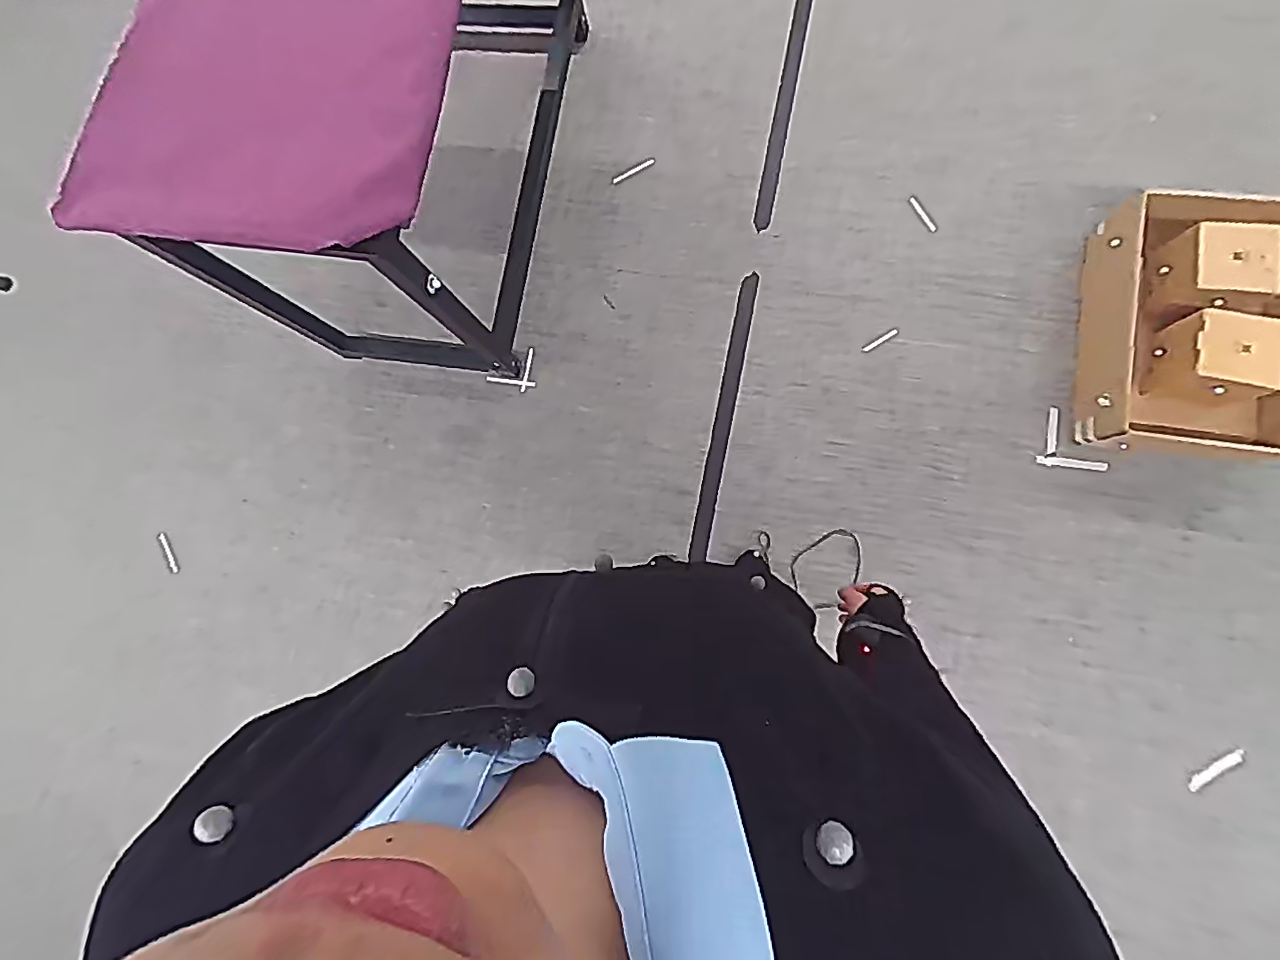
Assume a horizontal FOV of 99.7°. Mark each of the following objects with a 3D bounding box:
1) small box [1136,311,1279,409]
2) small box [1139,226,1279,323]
[{"bbox_3d":[1.367,-0.281,1.304,0.179,0.176,0.168,14,84,8],"label":"small box"},{"bbox_3d":[1.384,-0.497,1.327,0.179,0.176,0.168,7,85,7],"label":"small box"}]
